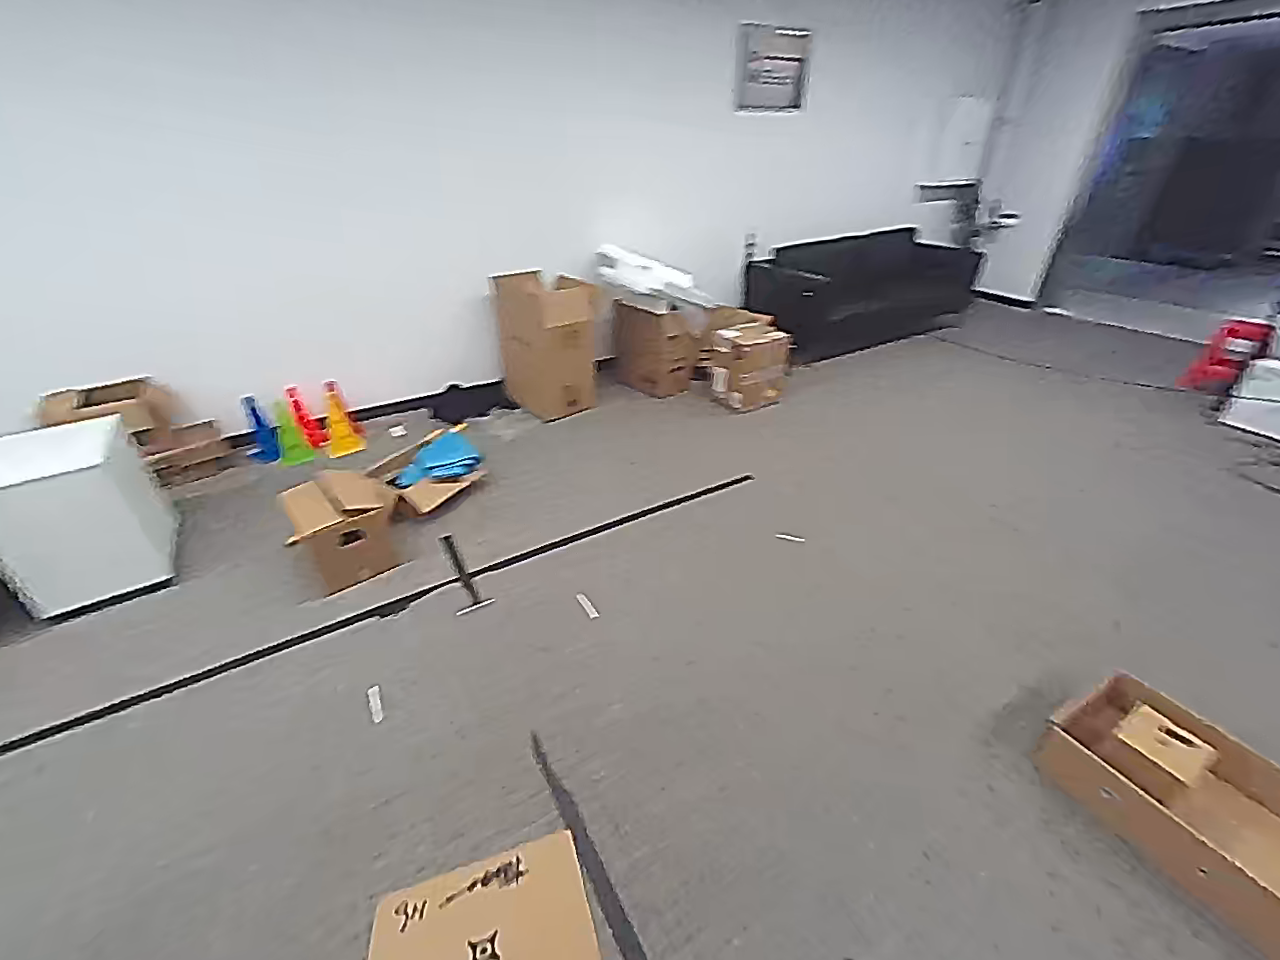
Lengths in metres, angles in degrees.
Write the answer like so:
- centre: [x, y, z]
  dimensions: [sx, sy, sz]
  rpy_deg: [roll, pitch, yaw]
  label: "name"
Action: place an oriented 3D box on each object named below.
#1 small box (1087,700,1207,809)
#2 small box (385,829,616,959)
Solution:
- centre: [1.390, 0.756, 1.494]
  dimensions: [0.179, 0.176, 0.168]
  rpy_deg: [-19, 37, -27]
  label: "small box"
- centre: [-0.092, 0.424, 0.408]
  dimensions: [0.168, 0.176, 0.179]
  rpy_deg: [-10, 15, -16]
  label: "small box"
